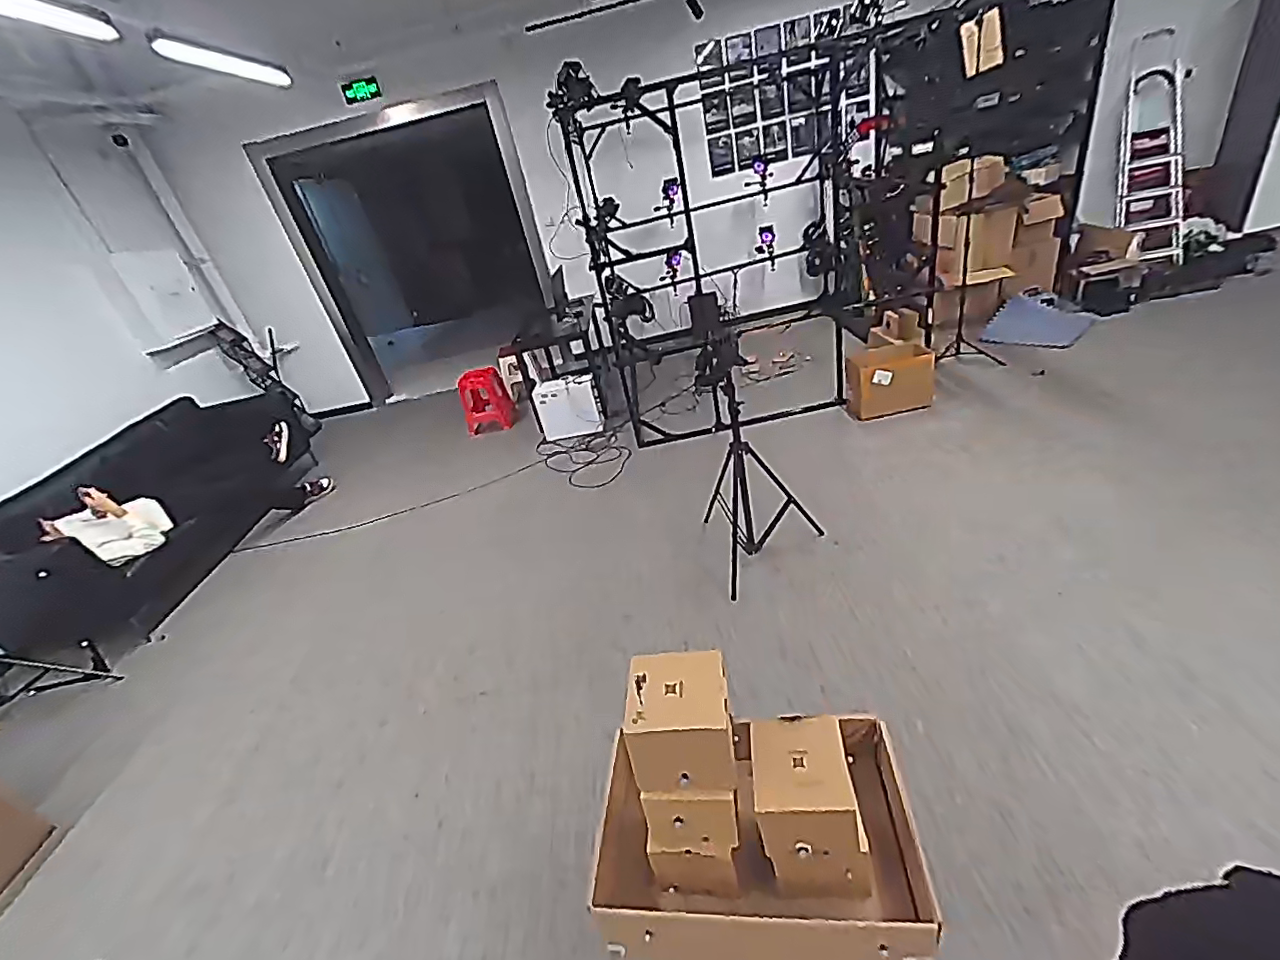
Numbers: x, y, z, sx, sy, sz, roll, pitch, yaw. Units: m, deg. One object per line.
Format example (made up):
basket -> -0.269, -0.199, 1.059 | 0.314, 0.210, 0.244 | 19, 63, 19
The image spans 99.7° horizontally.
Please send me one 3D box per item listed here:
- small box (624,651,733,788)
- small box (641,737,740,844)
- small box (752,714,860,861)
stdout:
small box -> 0.078, 0.436, 0.987 | 0.179, 0.176, 0.168 | -5, 29, 9
small box -> 0.104, 0.581, 1.059 | 0.168, 0.176, 0.179 | -5, 29, 10
small box -> 0.302, 0.563, 0.999 | 0.168, 0.176, 0.179 | -9, 29, 14
